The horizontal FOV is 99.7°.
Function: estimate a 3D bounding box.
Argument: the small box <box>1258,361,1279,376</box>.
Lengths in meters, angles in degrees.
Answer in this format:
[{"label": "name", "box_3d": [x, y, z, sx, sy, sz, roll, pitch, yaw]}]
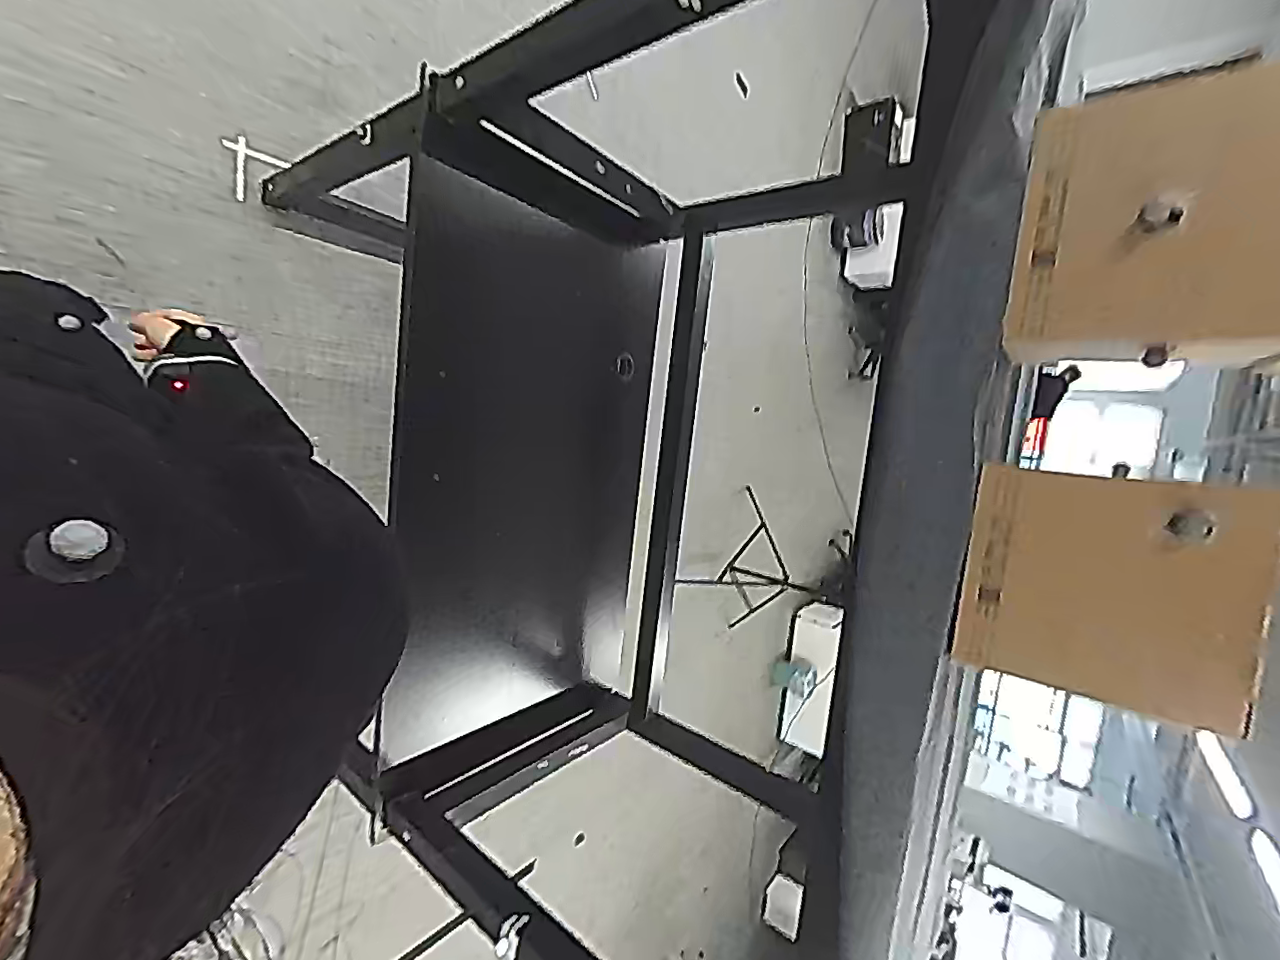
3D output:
[{"label": "small box", "box_3d": [0.534, -0.152, 0.334, 0.179, 0.176, 0.168, -7, 103, -53]}]

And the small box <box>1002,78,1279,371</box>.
[{"label": "small box", "box_3d": [0.401, -0.177, 0.429, 0.179, 0.176, 0.168, -8, 105, -52]}]
